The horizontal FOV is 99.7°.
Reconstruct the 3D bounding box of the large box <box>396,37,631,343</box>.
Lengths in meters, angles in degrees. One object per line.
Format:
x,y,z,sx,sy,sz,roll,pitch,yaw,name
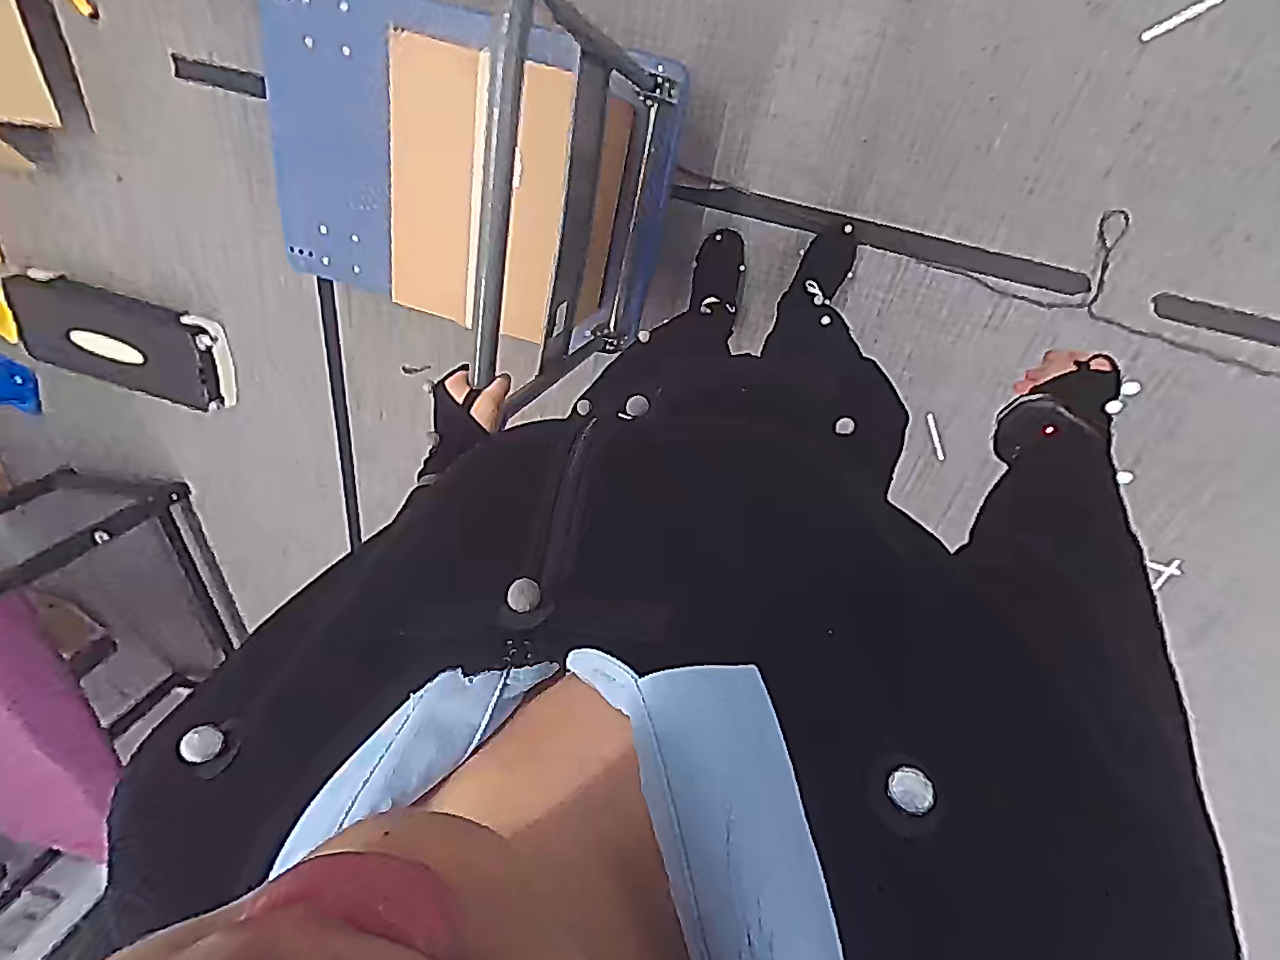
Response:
-0.227,-0.518,1.020,0.320,0.320,0.408,16,119,3,large box
